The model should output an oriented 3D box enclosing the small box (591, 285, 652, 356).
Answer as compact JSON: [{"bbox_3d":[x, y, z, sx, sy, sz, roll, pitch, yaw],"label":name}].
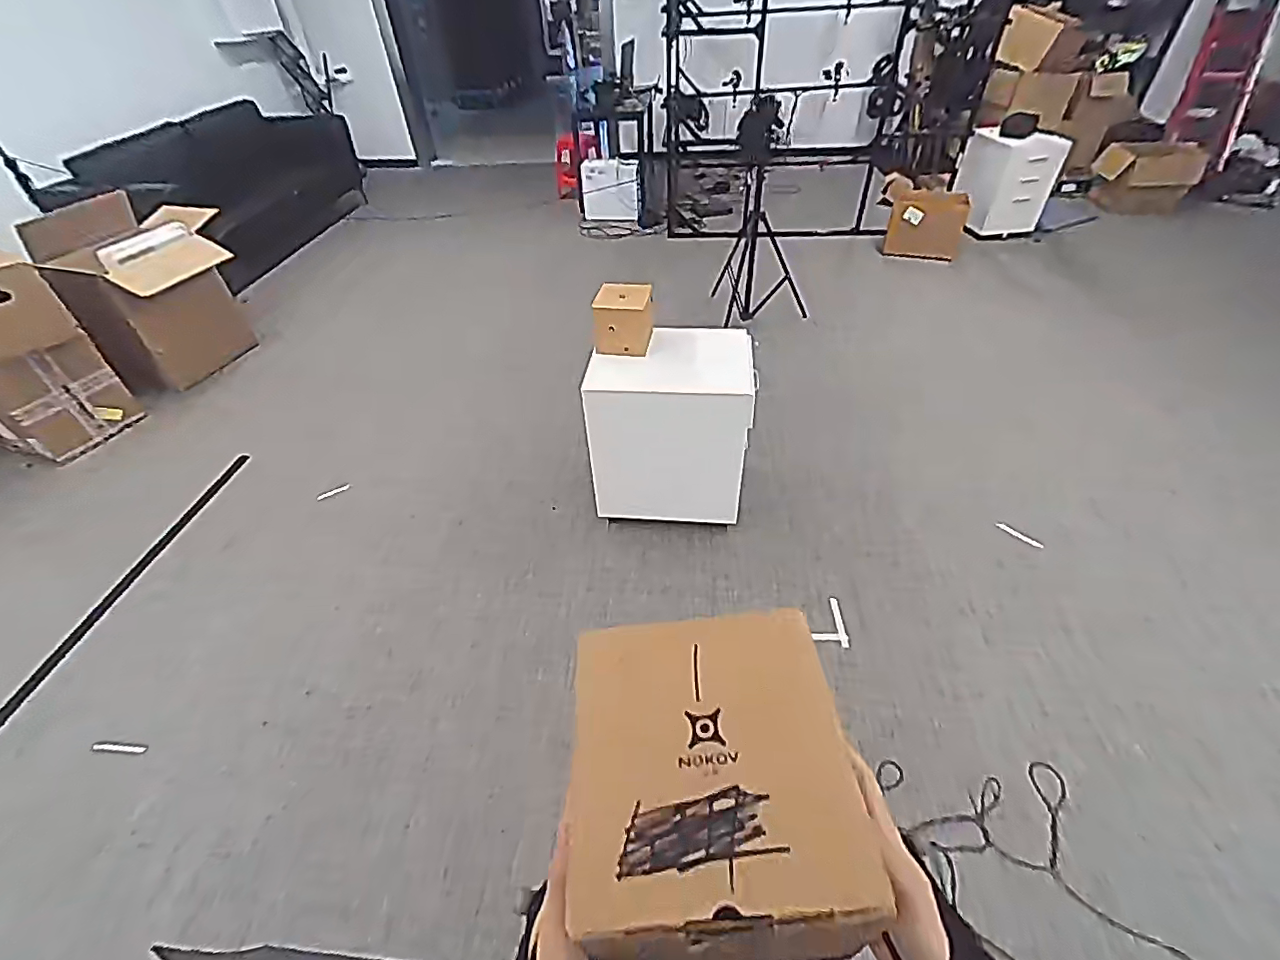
[{"bbox_3d":[-0.055,-0.517,1.758,0.168,0.176,0.179,5,44,8],"label":"small box"}]
